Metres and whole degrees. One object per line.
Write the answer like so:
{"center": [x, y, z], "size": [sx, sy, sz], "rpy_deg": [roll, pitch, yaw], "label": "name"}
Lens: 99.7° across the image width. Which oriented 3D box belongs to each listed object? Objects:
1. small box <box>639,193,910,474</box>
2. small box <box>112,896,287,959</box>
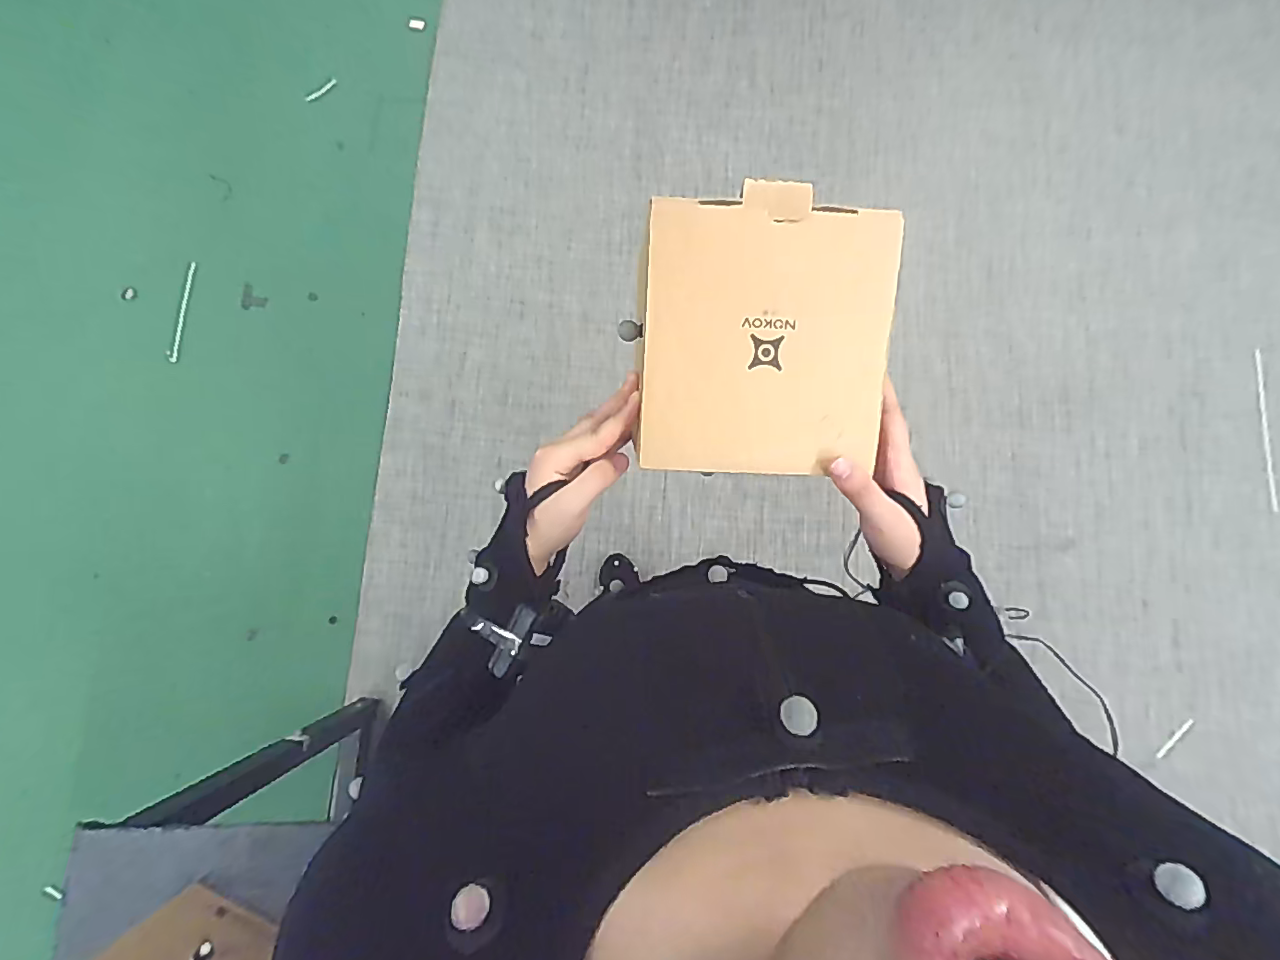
{"center": [0.085, -0.106, 0.435], "size": [0.168, 0.176, 0.179], "rpy_deg": [2, 99, -2], "label": "small box"}
{"center": [-0.551, 0.639, 0.621], "size": [0.168, 0.176, 0.179], "rpy_deg": [24, 85, 4], "label": "small box"}
